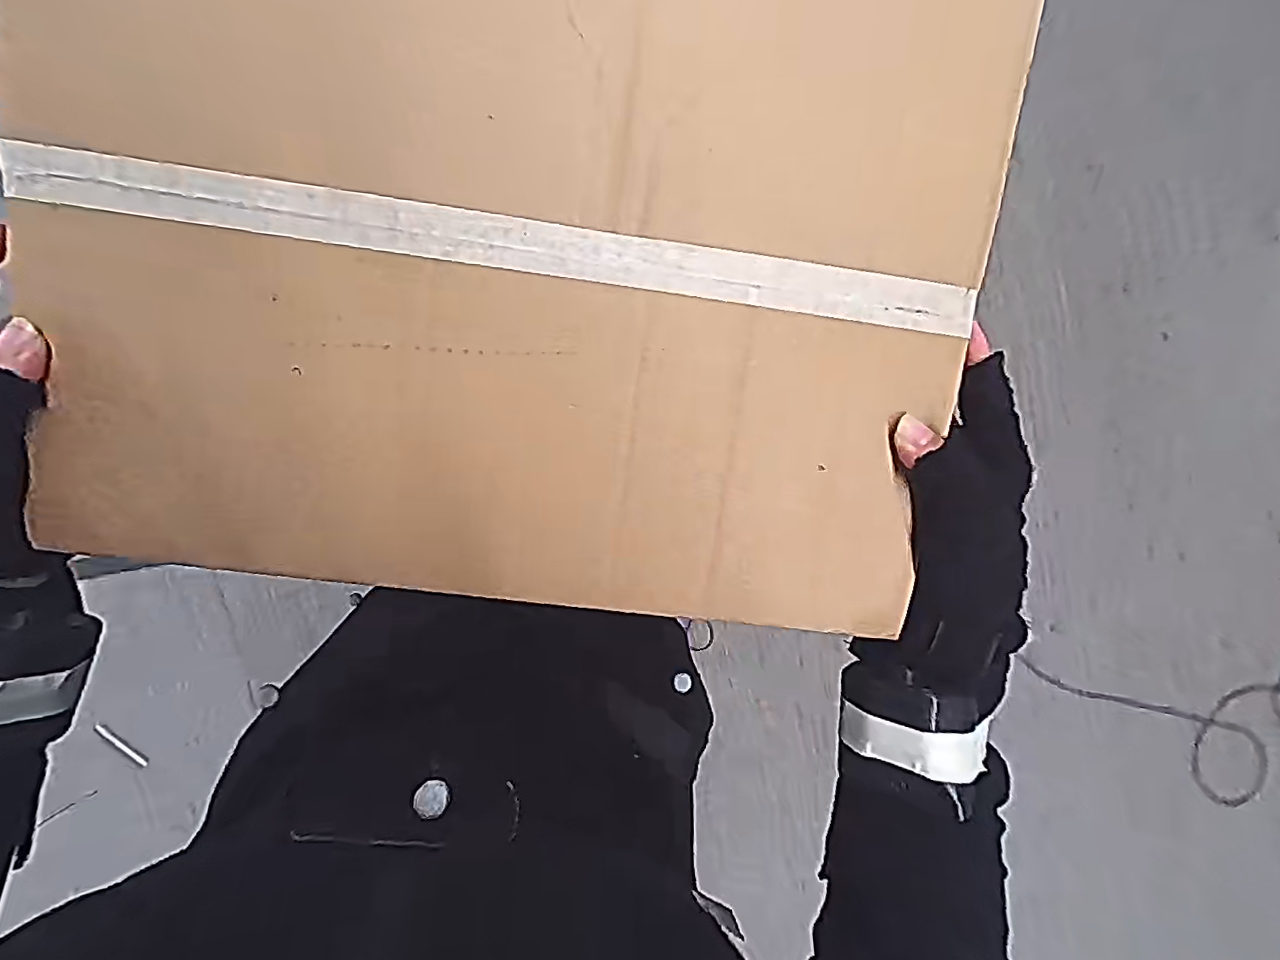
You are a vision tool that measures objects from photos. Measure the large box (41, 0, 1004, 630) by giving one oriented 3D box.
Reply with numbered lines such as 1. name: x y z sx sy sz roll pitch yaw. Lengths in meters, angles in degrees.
1. large box: -0.063 -0.113 0.389 0.408 0.320 0.320 6 100 -4
